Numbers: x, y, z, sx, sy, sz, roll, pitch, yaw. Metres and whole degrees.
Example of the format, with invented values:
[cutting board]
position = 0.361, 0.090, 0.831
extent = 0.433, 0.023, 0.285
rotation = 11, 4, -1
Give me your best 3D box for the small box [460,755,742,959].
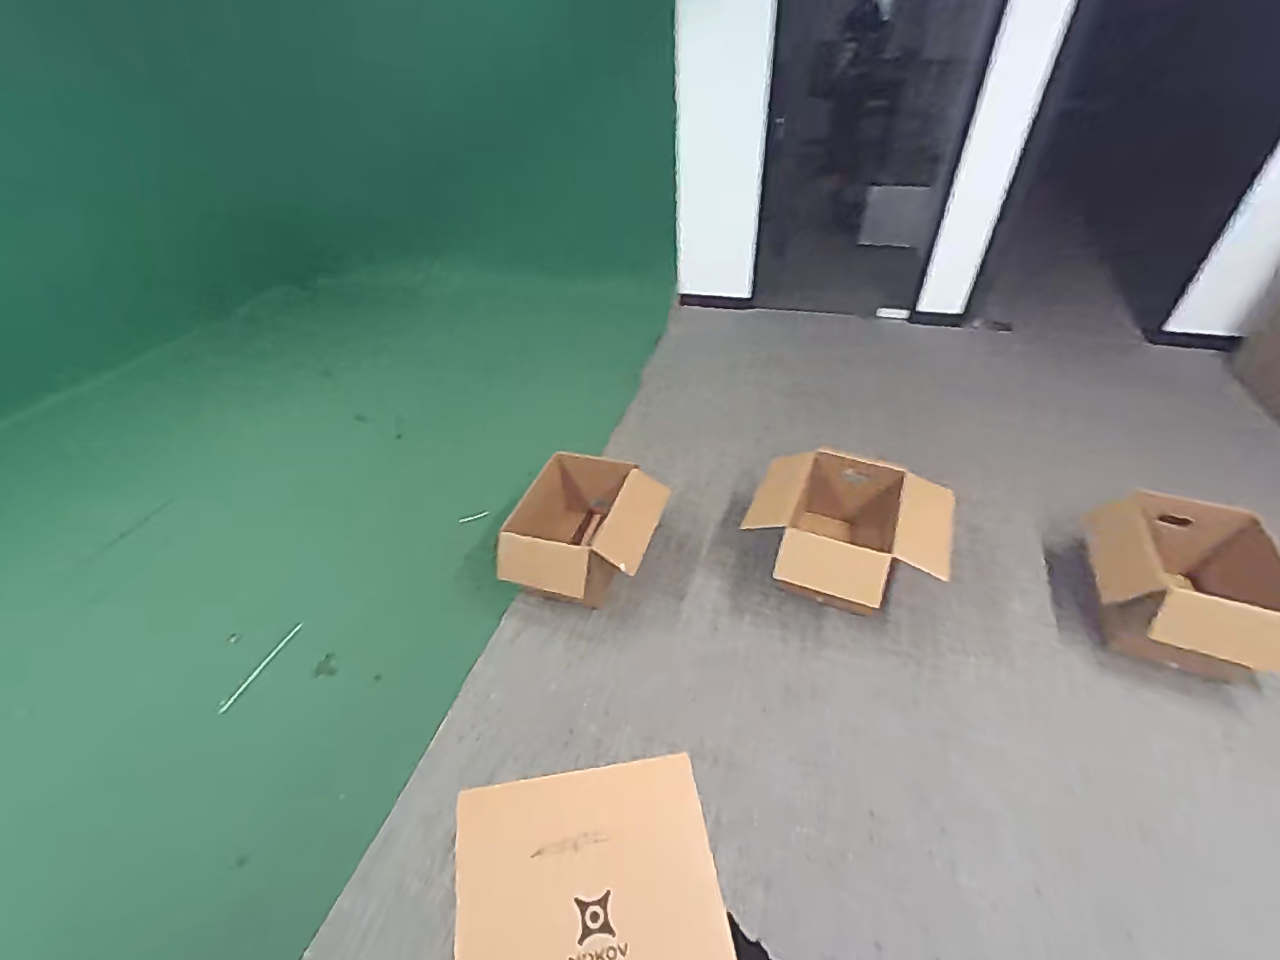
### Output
[small box]
position = -0.036, 0.320, 0.383
extent = 0.168, 0.176, 0.179
rotation = -1, 49, -14
